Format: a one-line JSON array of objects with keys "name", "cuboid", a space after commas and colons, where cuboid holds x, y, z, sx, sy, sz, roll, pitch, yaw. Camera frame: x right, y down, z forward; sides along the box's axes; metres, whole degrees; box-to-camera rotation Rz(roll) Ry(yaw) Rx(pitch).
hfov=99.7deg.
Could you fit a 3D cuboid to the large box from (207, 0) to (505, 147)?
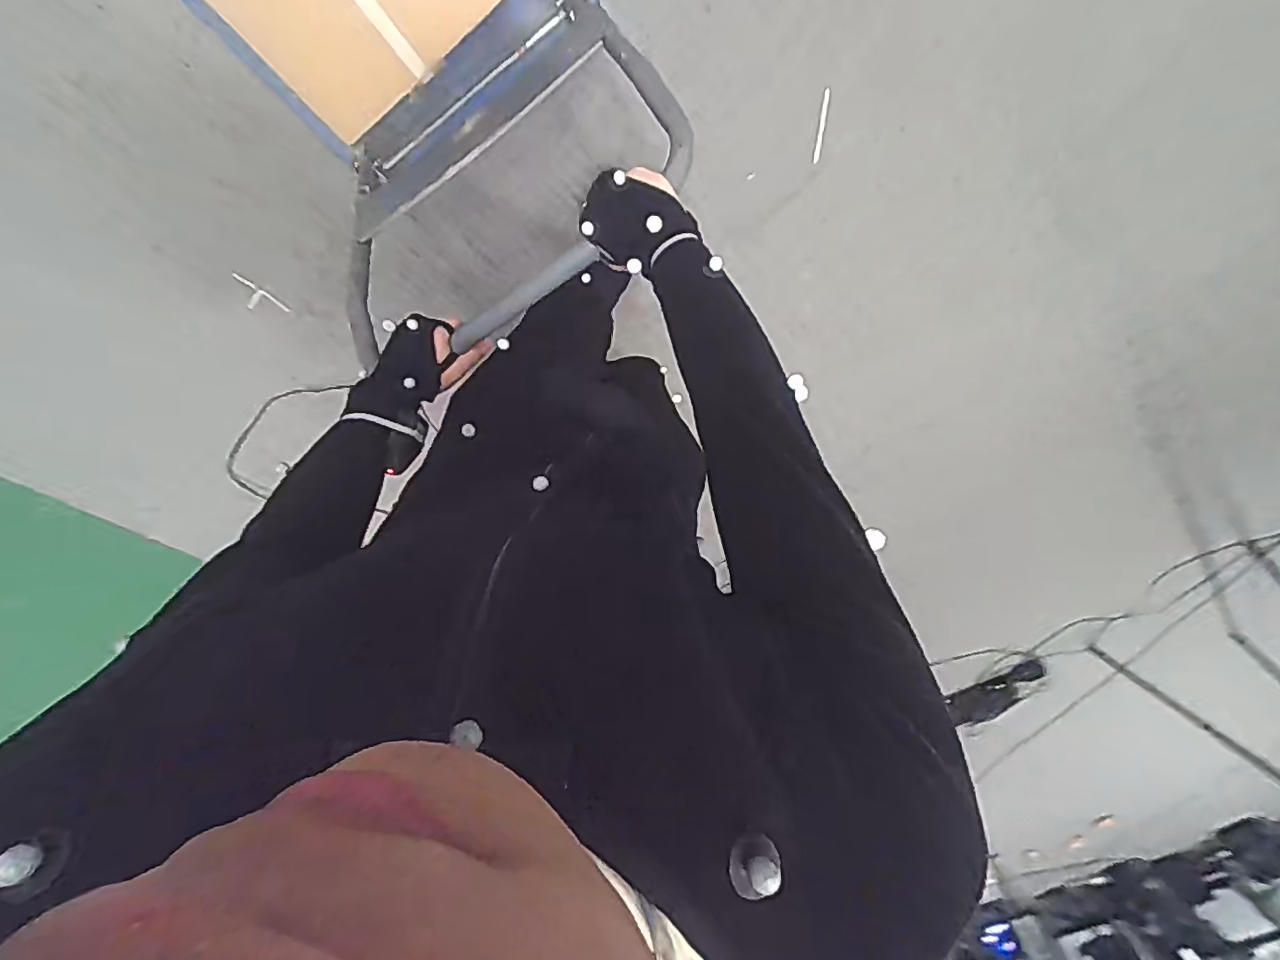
[{"name": "large box", "cuboid": [-0.437, -0.774, 0.732, 0.320, 0.320, 0.408, -31, 138, 16]}]
